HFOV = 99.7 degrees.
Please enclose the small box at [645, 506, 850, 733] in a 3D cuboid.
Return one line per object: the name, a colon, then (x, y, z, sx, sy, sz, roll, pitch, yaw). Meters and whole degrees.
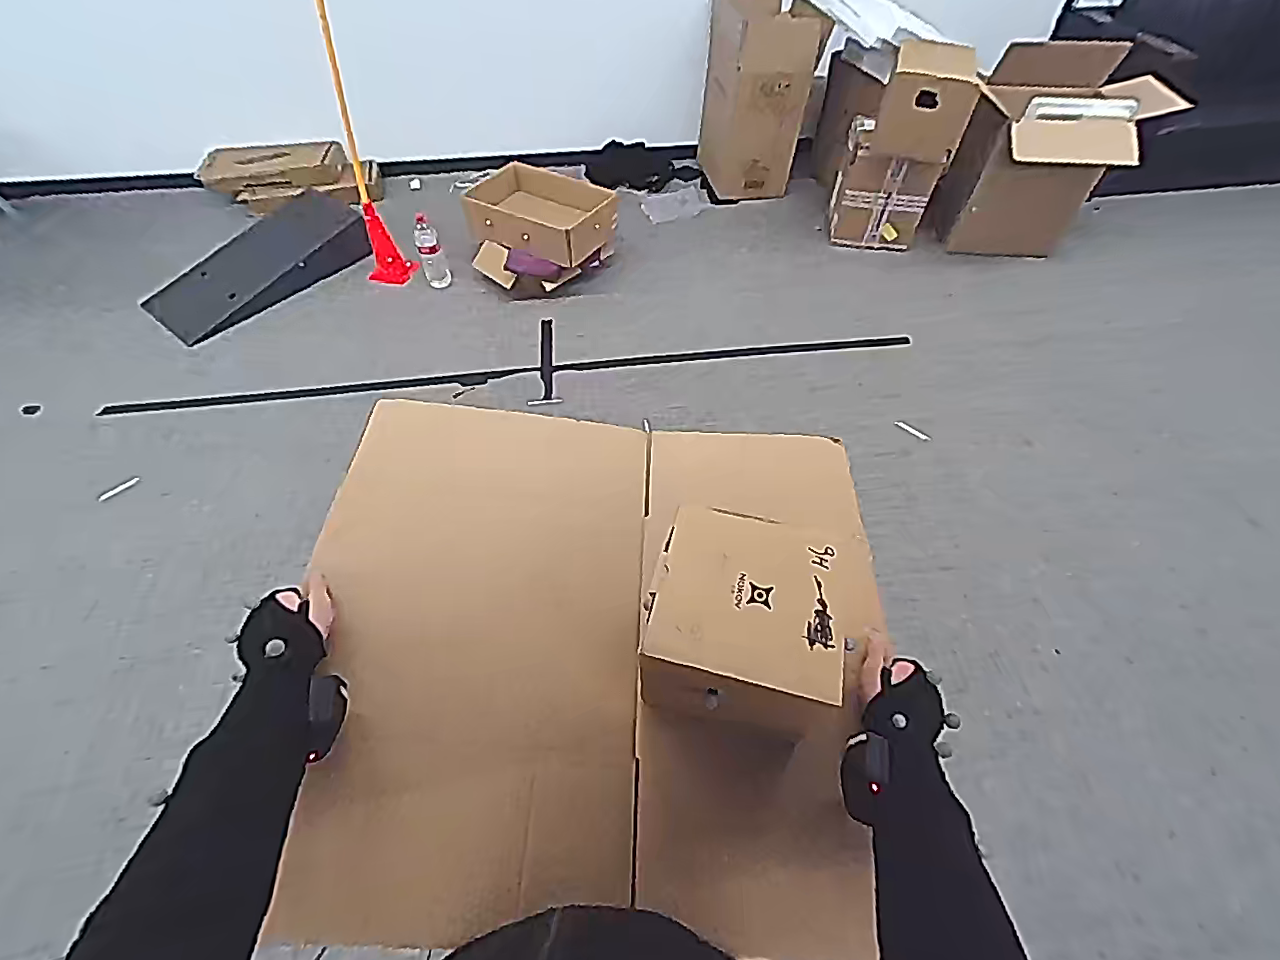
small box: (0.111, 0.154, 0.579, 0.179, 0.176, 0.168, 11, 56, 10)
